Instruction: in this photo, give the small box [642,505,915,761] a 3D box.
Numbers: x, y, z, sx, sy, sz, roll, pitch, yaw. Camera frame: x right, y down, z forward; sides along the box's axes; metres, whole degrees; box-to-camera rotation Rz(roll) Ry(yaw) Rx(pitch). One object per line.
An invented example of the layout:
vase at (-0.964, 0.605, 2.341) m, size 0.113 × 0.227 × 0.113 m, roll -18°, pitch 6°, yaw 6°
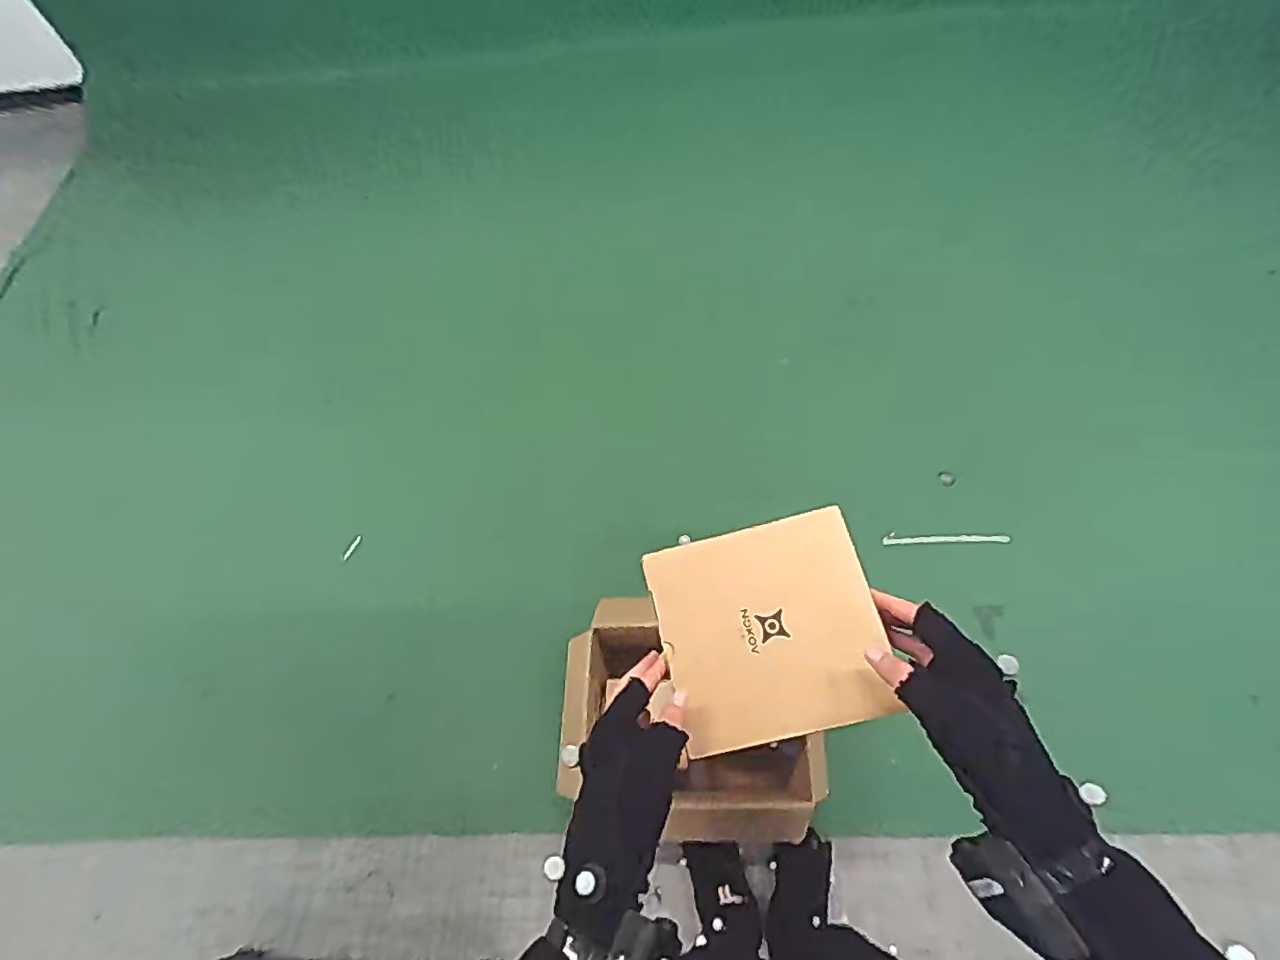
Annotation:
small box at (0.114, 0.138, 0.498) m, size 0.179 × 0.176 × 0.168 m, roll -16°, pitch 70°, yaw 6°
